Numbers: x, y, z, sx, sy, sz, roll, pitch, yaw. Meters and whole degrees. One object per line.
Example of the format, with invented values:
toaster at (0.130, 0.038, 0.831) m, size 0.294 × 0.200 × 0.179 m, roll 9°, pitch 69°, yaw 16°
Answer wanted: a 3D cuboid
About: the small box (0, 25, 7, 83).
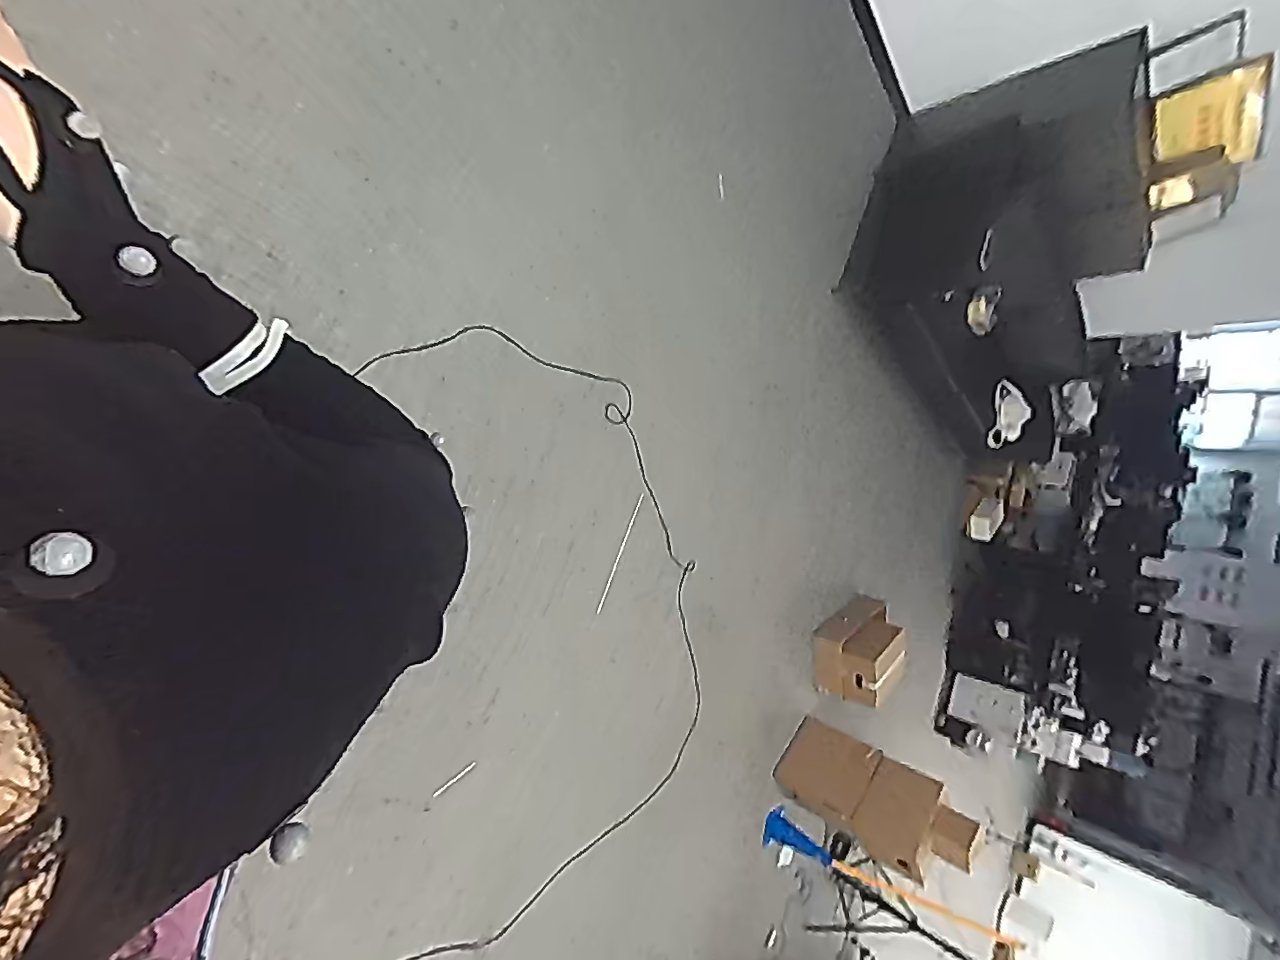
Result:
small box at (-0.422, -0.286, 0.226) m, size 0.168 × 0.176 × 0.179 m, roll -12°, pitch 135°, yaw -36°
